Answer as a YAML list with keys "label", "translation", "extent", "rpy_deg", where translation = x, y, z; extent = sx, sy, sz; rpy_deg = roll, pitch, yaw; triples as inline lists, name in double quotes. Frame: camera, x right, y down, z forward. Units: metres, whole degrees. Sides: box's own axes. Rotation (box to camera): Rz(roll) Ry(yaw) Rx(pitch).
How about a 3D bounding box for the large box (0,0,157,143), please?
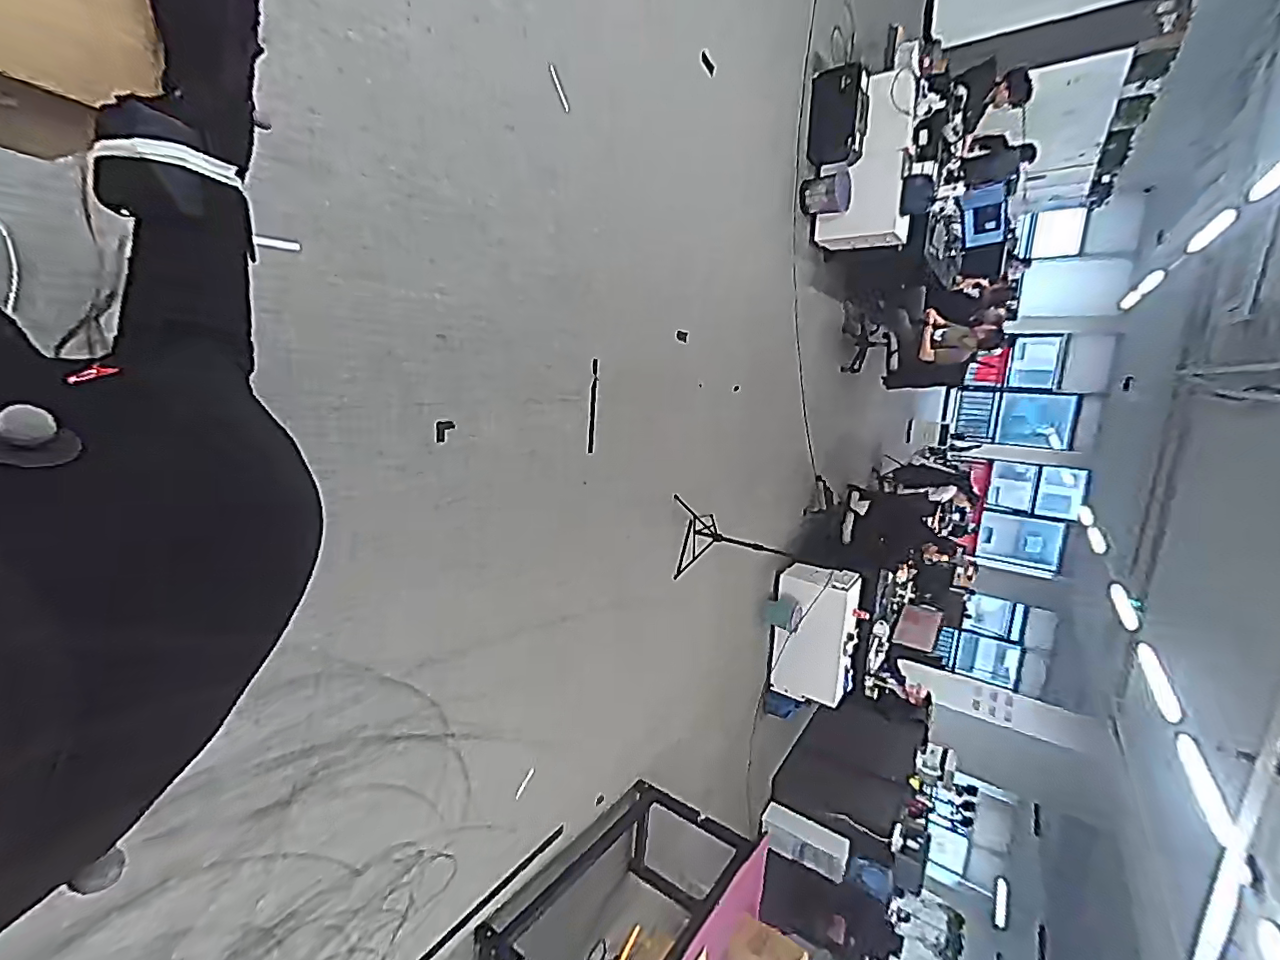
- label: "large box"
  translation: [-0.559, -0.435, 0.277]
  extent: [0.408, 0.320, 0.320]
  rpy_deg: [-5, 109, -58]
